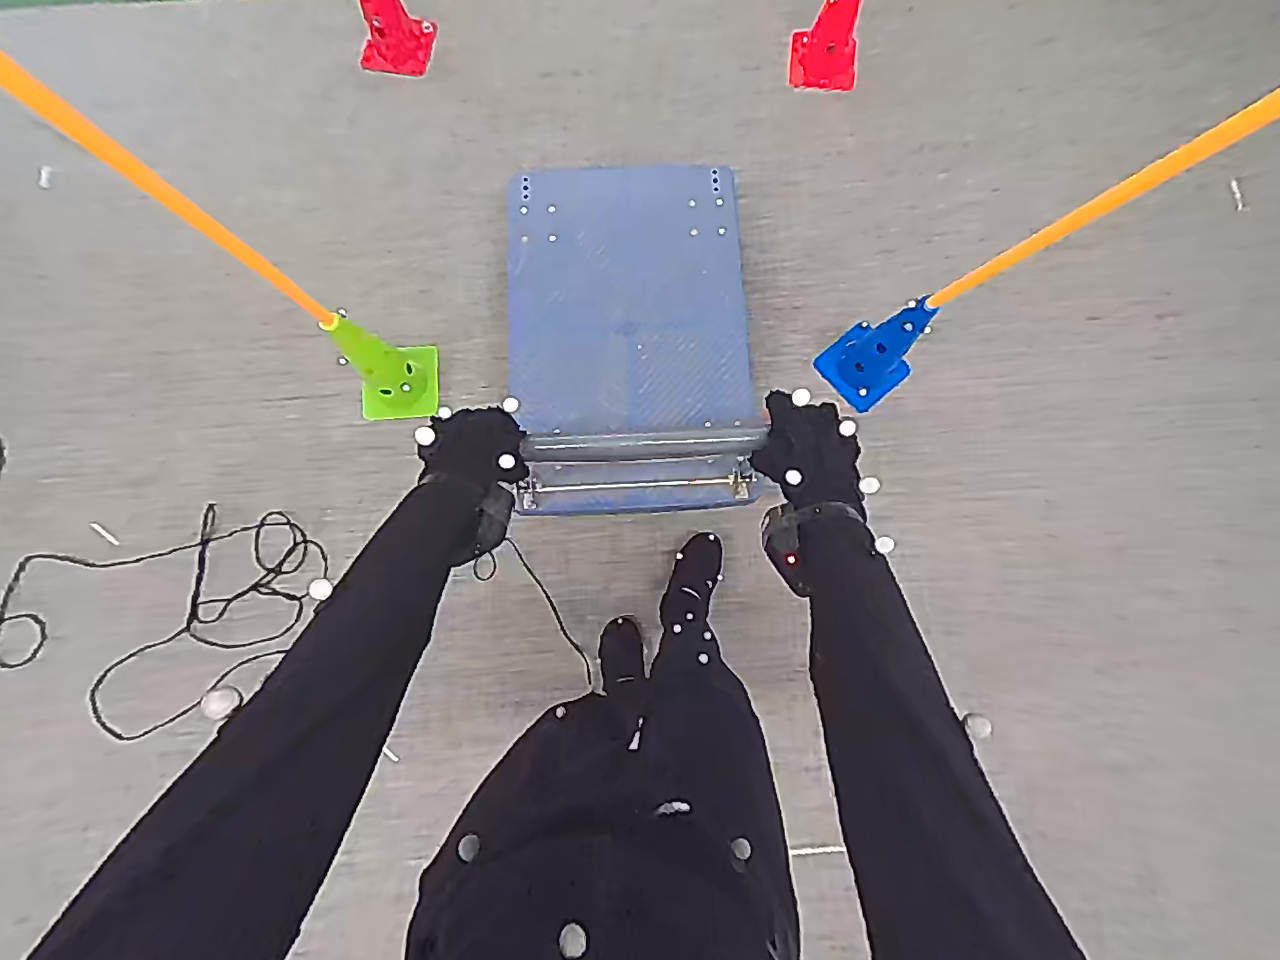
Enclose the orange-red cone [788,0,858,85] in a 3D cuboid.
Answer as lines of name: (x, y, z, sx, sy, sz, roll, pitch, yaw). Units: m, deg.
orange-red cone: (0.546, -1.308, 1.458, 0.198, 0.360, 0.199, 7, 81, 2)
